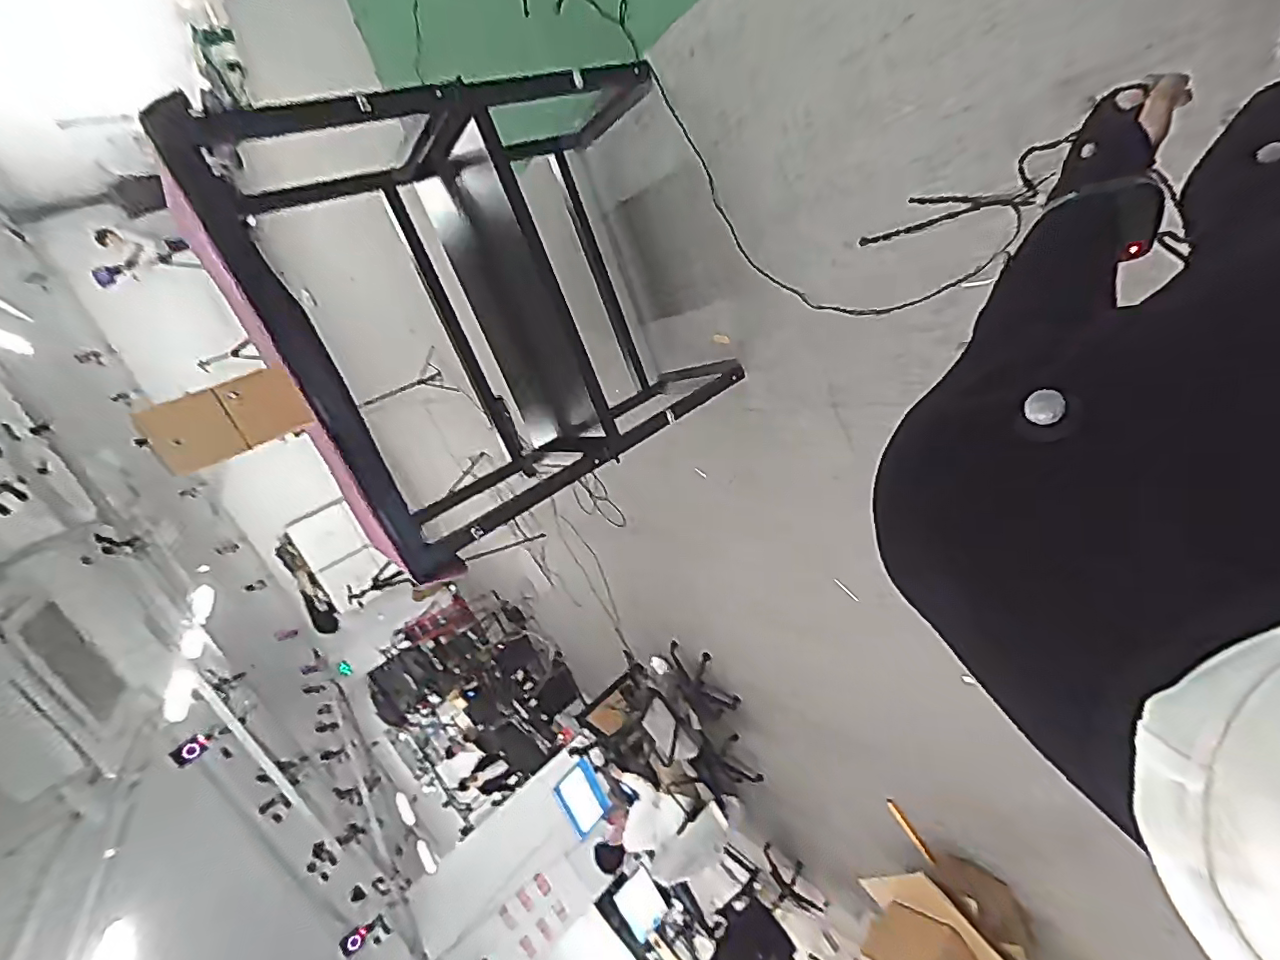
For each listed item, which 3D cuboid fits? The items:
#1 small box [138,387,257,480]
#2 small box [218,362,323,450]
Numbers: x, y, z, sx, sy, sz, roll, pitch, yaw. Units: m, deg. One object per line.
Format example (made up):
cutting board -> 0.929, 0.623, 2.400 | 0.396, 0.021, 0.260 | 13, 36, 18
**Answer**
small box -> -1.094, -0.119, 1.355 | 0.168, 0.176, 0.179 | 7, 123, 54
small box -> -0.970, -0.195, 1.434 | 0.168, 0.176, 0.179 | 5, 122, 55
